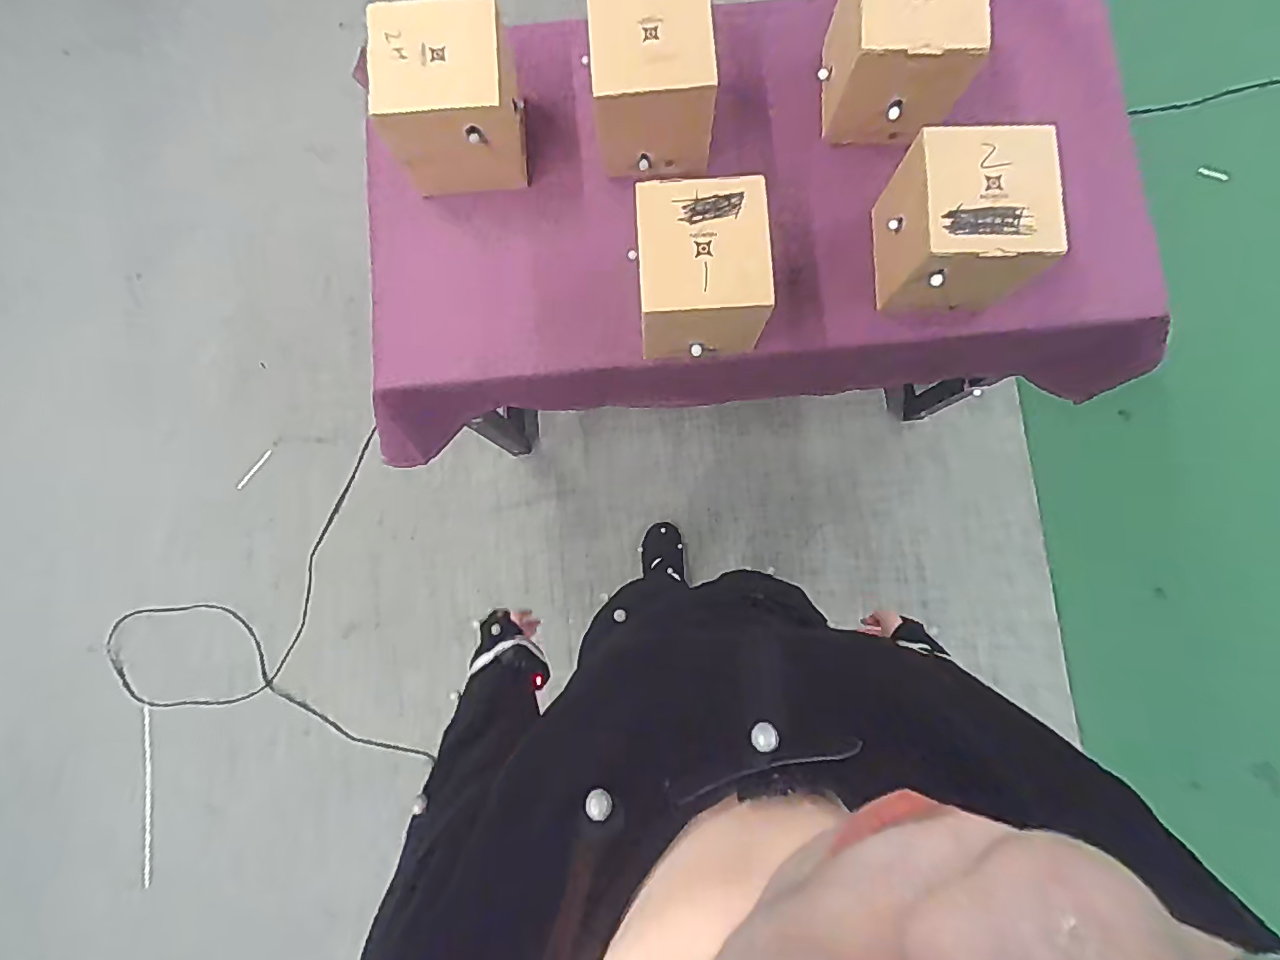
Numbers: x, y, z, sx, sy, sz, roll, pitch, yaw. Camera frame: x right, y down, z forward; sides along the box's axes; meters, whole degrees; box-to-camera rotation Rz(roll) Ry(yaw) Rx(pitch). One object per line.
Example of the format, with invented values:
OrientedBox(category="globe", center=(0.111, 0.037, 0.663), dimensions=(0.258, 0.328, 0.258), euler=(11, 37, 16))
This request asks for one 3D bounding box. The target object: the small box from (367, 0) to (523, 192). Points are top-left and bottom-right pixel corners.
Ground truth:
OrientedBox(category="small box", center=(-0.274, -0.554, 0.794), dimensions=(0.179, 0.176, 0.168), euler=(-4, 83, 1))

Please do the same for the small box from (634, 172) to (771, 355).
OrientedBox(category="small box", center=(0.078, -0.289, 0.750), dimensions=(0.168, 0.176, 0.179), euler=(-3, 83, 2))

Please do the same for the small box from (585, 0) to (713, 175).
OrientedBox(category="small box", center=(0.012, -0.585, 0.790), dimensions=(0.168, 0.176, 0.179), euler=(-4, 84, 2))

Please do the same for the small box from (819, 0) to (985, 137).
OrientedBox(category="small box", center=(0.366, -0.630, 0.781), dimensions=(0.168, 0.176, 0.179), euler=(2, 84, 2))
